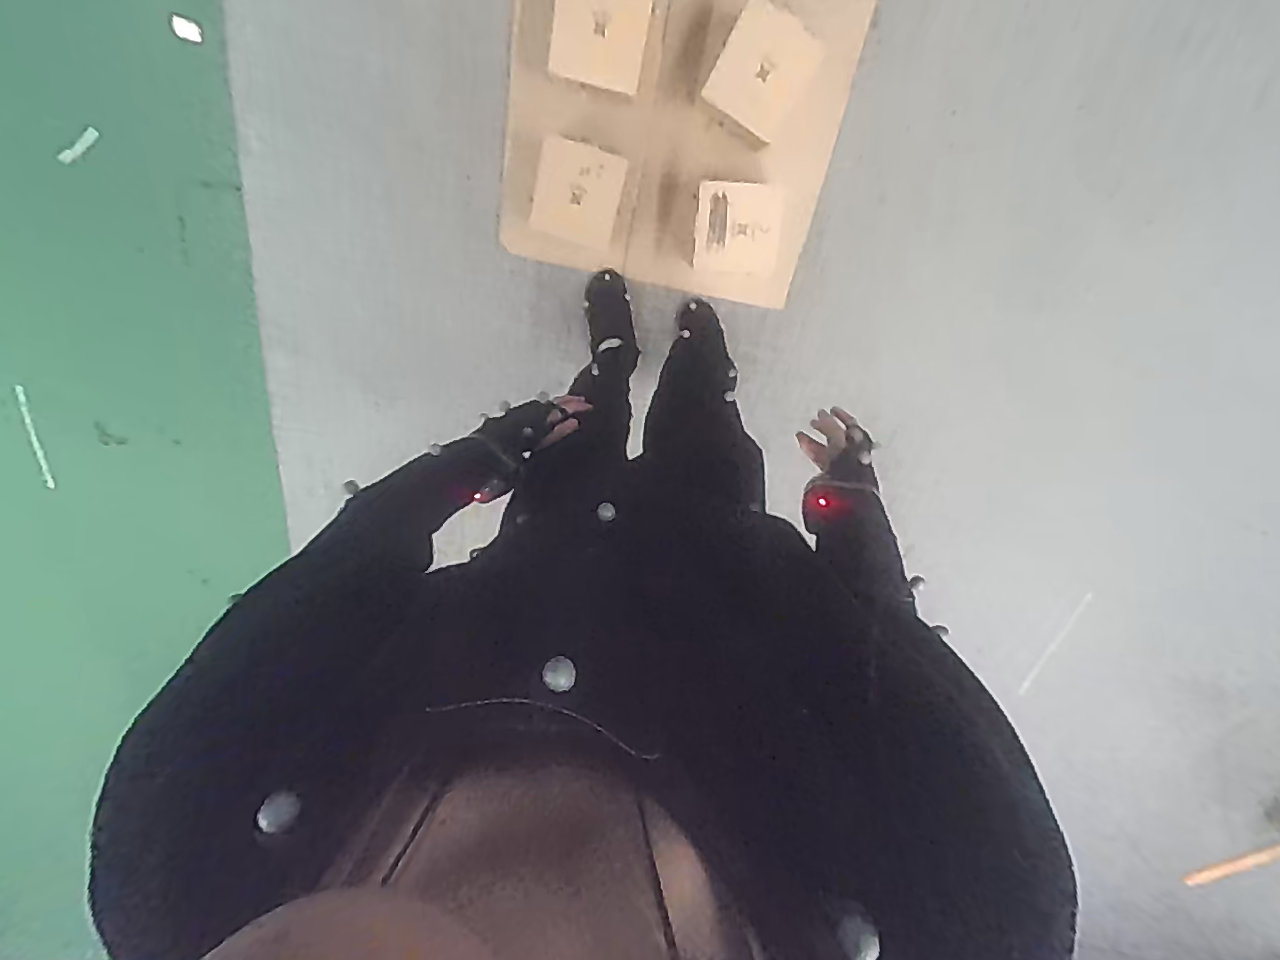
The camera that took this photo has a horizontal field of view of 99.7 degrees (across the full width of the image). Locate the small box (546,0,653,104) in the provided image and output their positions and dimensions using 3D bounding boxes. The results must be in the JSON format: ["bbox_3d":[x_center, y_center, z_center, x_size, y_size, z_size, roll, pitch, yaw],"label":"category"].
[{"bbox_3d":[-0.071,-0.832,1.010,0.168,0.176,0.179,11,116,-6],"label":"small box"}]

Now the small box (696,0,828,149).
[{"bbox_3d":[0.220,-0.772,1.038,0.168,0.176,0.179,27,113,-13],"label":"small box"}]

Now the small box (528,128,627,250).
[{"bbox_3d":[-0.124,-0.600,1.128,0.168,0.176,0.179,15,116,-8],"label":"small box"}]
